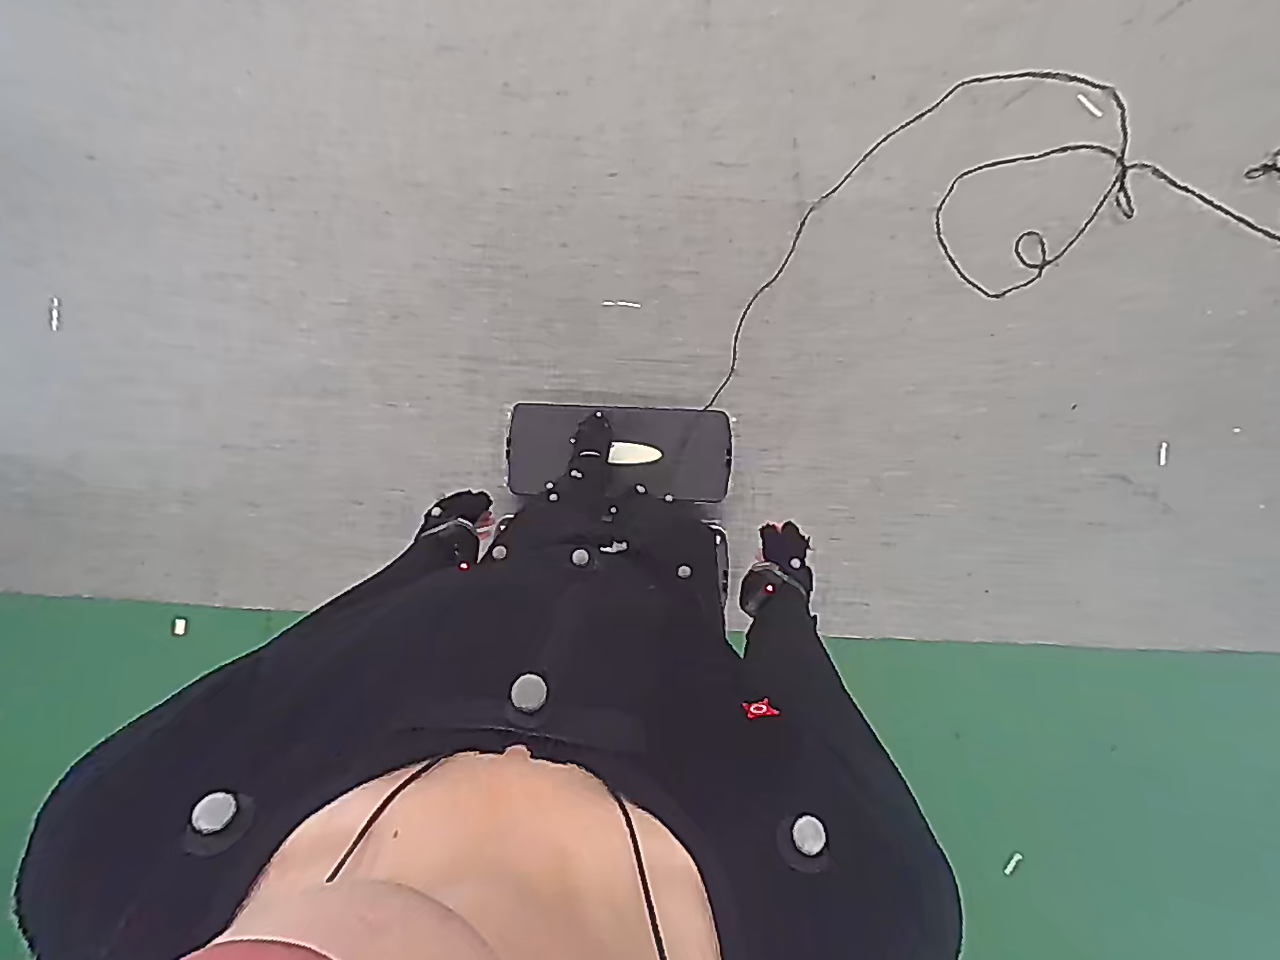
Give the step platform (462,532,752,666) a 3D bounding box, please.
[{"bbox_3d":[-0.078,0.286,1.363,0.684,0.204,0.286,2,90,-1],"label":"step platform"}]
